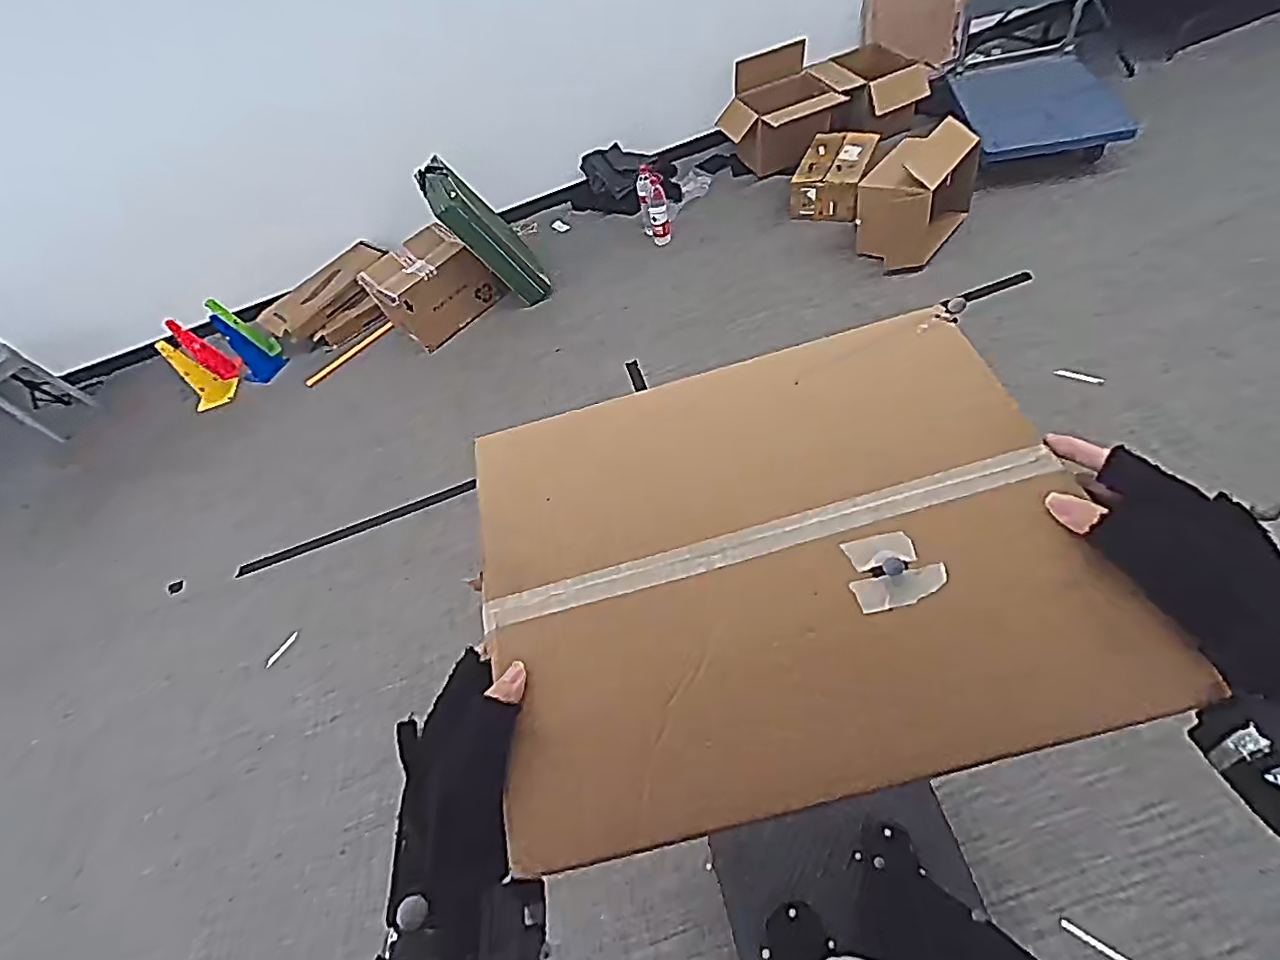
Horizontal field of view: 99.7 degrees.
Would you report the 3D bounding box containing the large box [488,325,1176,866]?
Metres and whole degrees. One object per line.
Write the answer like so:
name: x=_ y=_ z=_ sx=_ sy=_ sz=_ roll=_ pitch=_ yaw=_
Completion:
large box: x=0.113 y=0.120 z=0.520 sx=0.408 sy=0.320 sz=0.320 roll=-16 pitch=60 yaw=2
